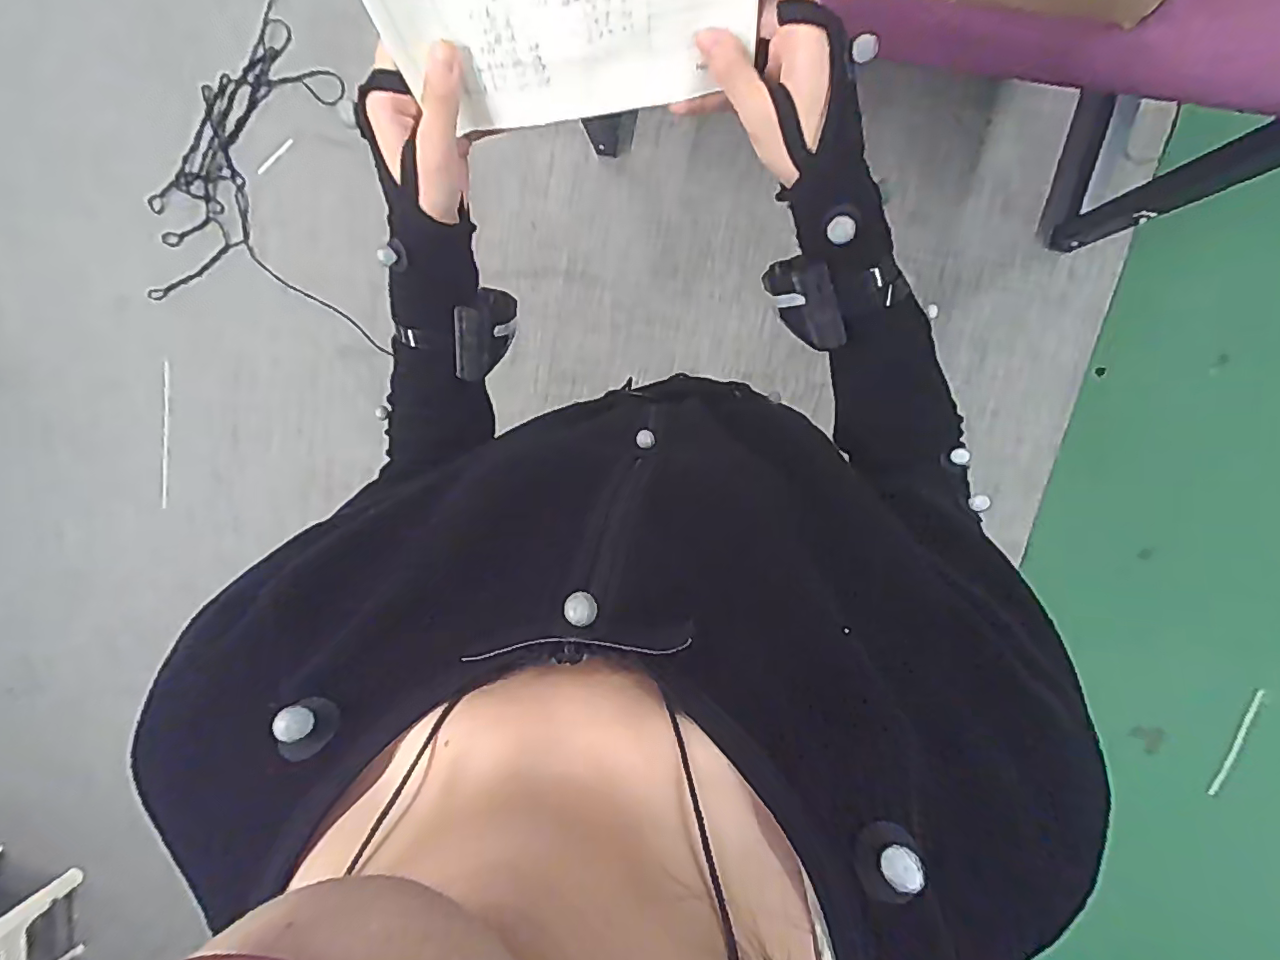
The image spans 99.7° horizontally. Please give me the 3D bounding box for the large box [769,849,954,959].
[{"bbox_3d":[0.580,1.279,1.491,0.408,0.320,0.320,-1,100,6],"label":"large box"}]
